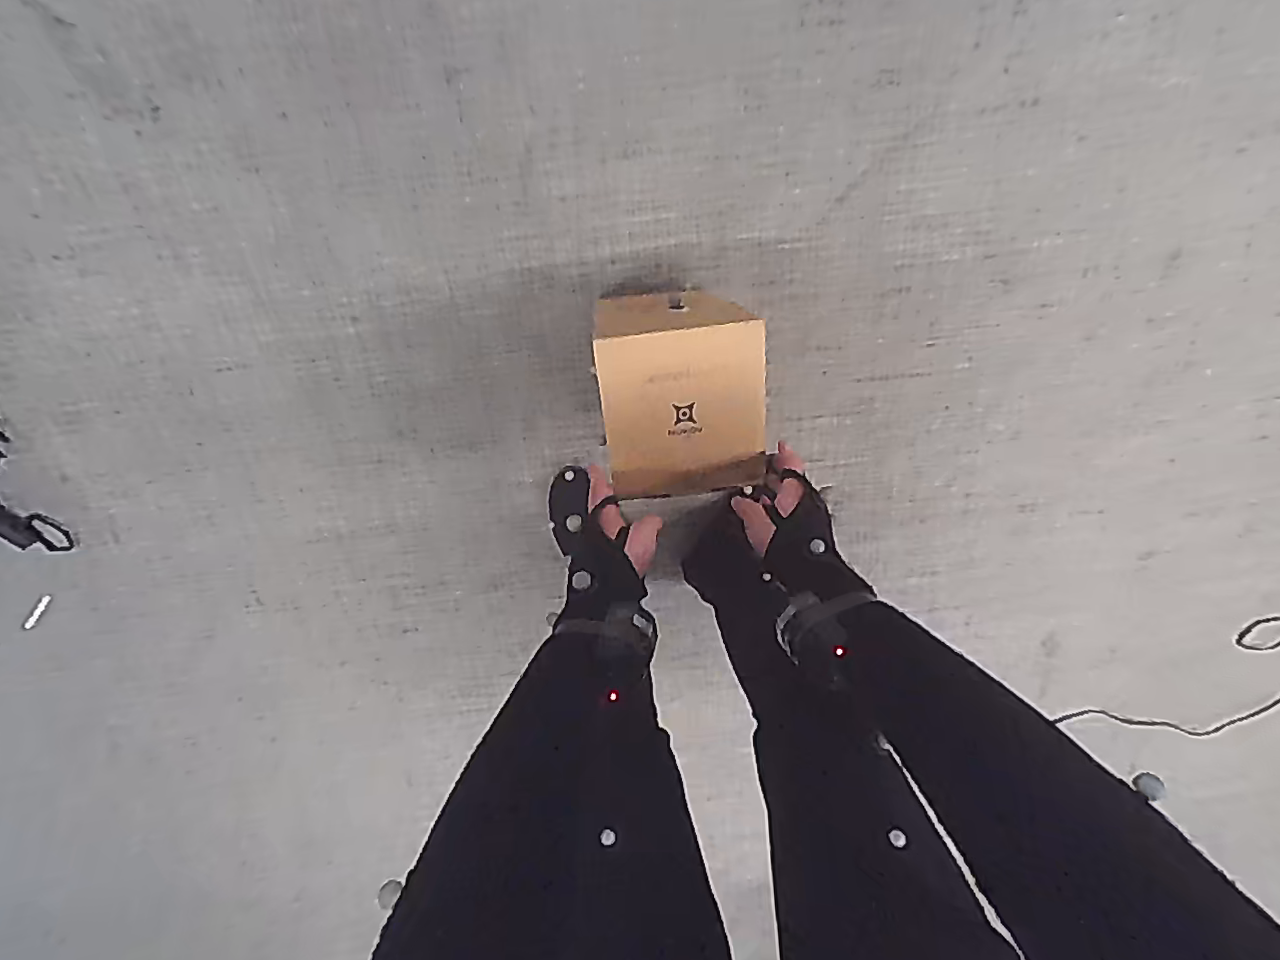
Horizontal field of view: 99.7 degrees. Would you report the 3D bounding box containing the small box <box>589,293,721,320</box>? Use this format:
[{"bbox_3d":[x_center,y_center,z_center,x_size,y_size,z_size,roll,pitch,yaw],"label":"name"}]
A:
[{"bbox_3d":[0.019,-0.161,0.752,0.168,0.176,0.179,-6,116,0],"label":"small box"}]

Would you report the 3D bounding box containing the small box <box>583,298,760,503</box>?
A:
[{"bbox_3d":[0.033,-0.096,0.604,0.168,0.176,0.179,-8,114,-1],"label":"small box"}]
